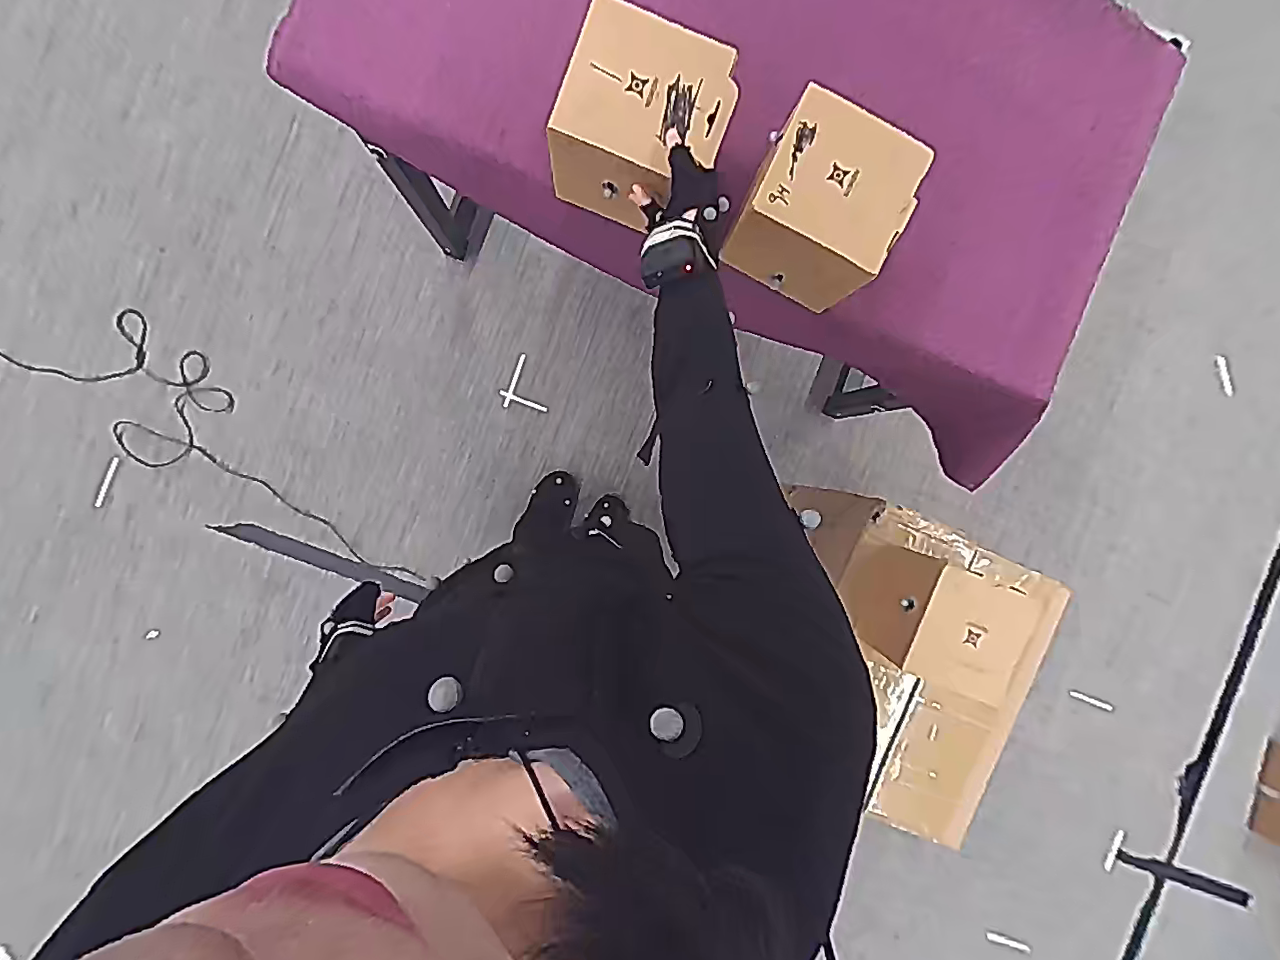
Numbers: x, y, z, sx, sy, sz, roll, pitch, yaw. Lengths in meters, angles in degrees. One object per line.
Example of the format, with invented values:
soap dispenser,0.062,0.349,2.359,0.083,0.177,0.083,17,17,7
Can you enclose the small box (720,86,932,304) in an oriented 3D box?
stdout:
small box,0.232,-0.355,0.718,0.179,0.176,0.168,26,89,-6

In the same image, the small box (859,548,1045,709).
small box,0.482,0.223,0.864,0.168,0.176,0.179,22,91,-3

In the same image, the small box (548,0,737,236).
small box,-0.002,-0.443,0.693,0.179,0.176,0.168,20,89,-4
